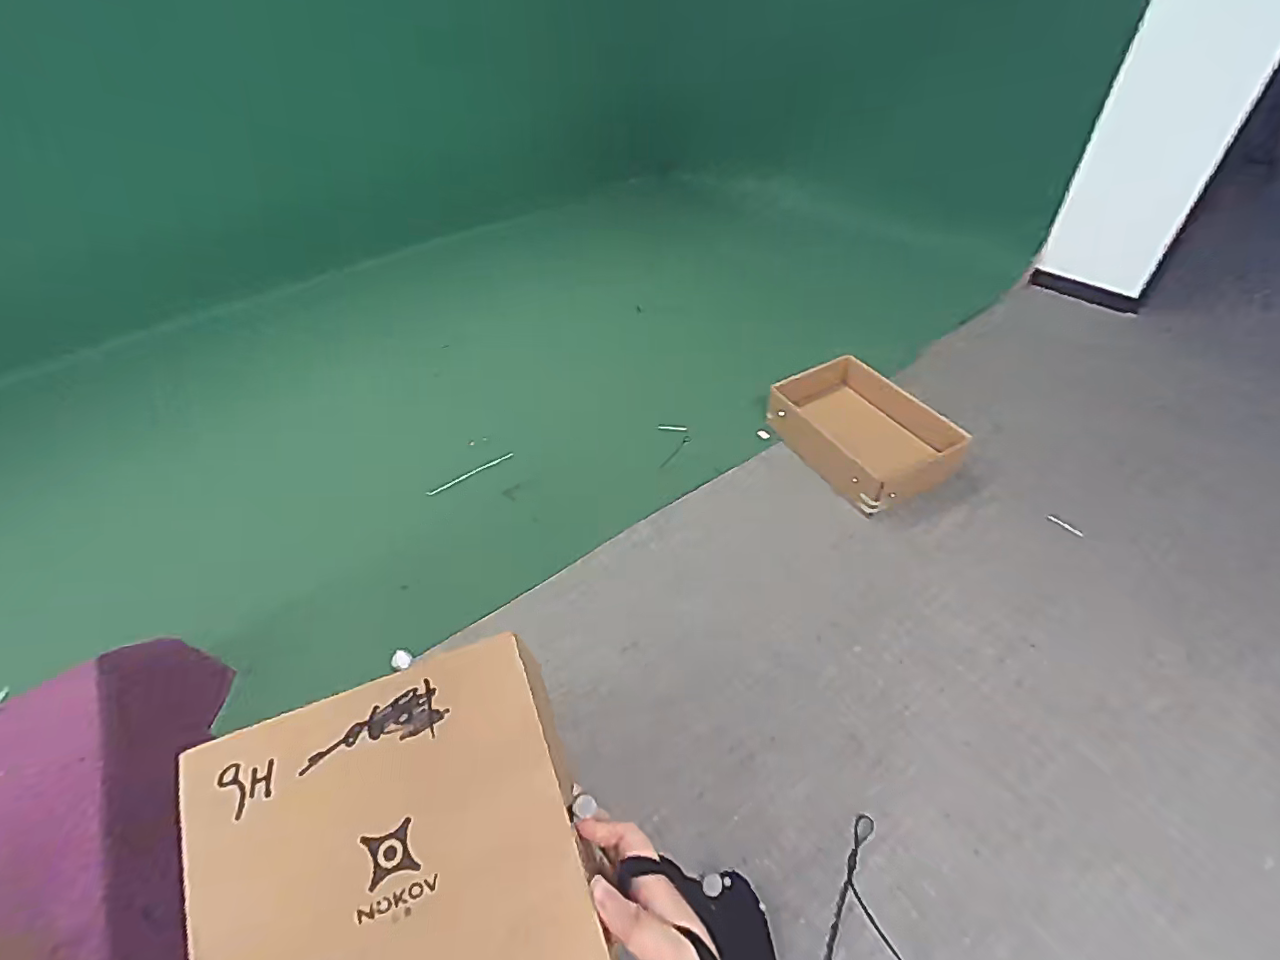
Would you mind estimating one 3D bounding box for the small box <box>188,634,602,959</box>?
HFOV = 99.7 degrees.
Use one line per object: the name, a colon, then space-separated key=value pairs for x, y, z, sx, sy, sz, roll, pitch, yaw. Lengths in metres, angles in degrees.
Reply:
small box: x=-0.124 y=0.212 z=0.327 sx=0.168 sy=0.176 sz=0.179 roll=-17 pitch=70 yaw=-13
